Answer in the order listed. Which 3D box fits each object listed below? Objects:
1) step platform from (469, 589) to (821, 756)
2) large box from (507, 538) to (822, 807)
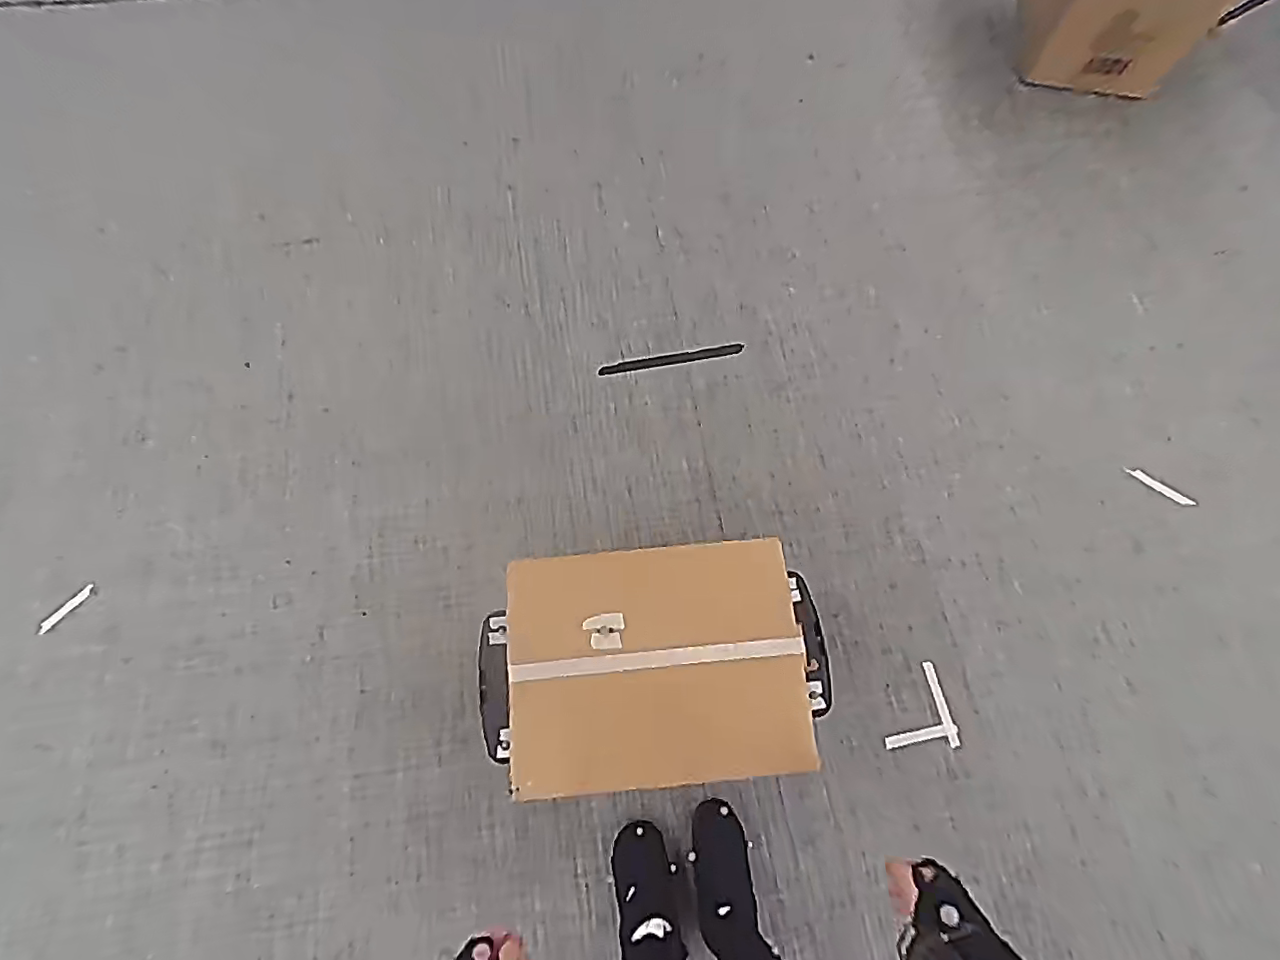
[{"bbox_3d":[0.009,0.383,1.098,0.684,0.204,0.286,-3,72,0],"label":"step platform"},{"bbox_3d":[0.026,0.295,0.875,0.408,0.320,0.320,-6,71,-1],"label":"large box"}]
